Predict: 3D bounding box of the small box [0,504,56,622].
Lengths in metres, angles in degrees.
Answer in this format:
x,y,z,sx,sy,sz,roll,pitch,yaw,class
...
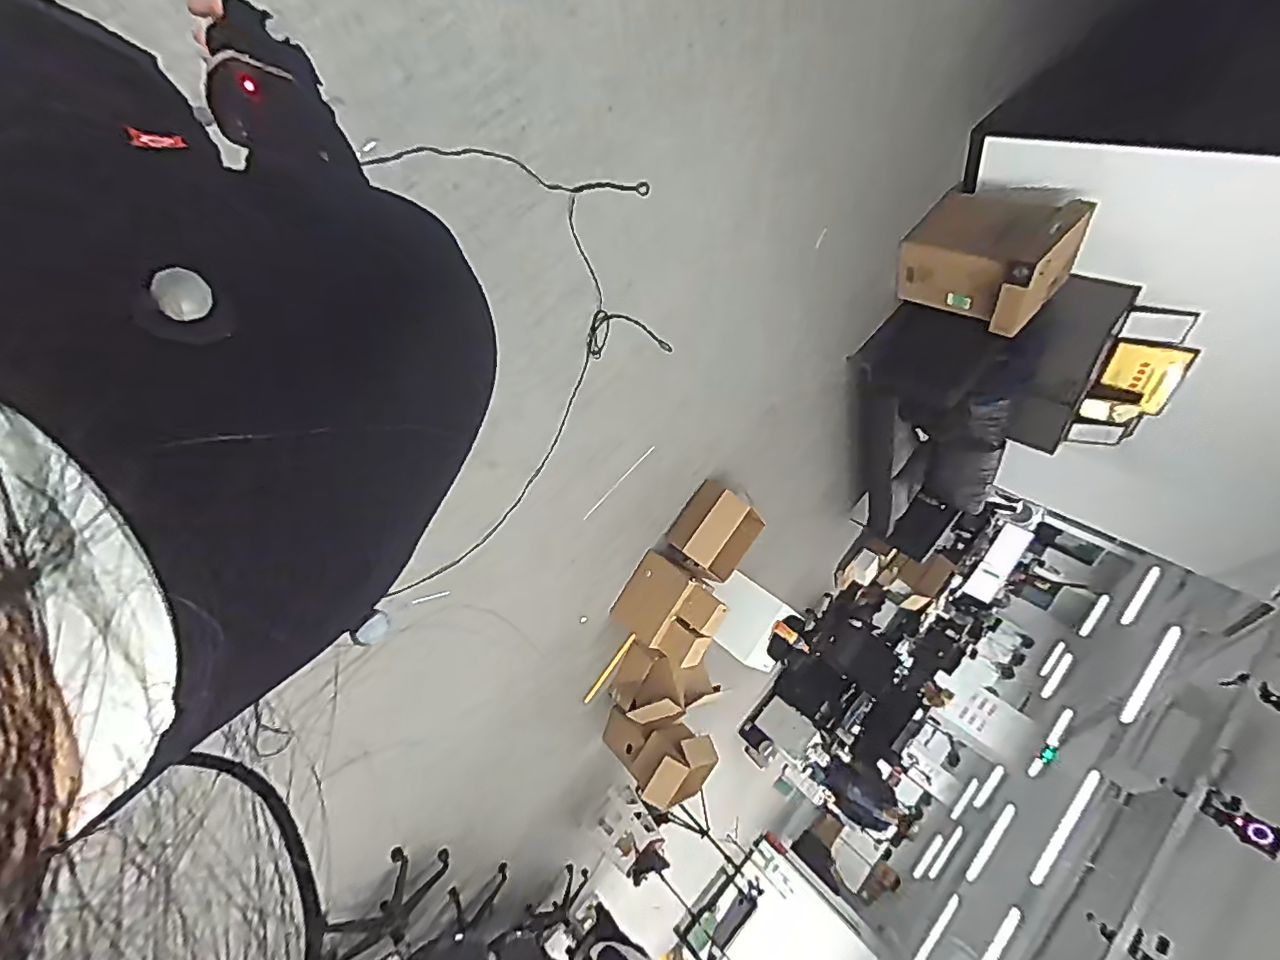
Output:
x,y,z,sx,sy,sz,roll,pitch,yaw,class
-1.147,0.144,0.904,0.179,0.176,0.168,-46,144,-14,small box
